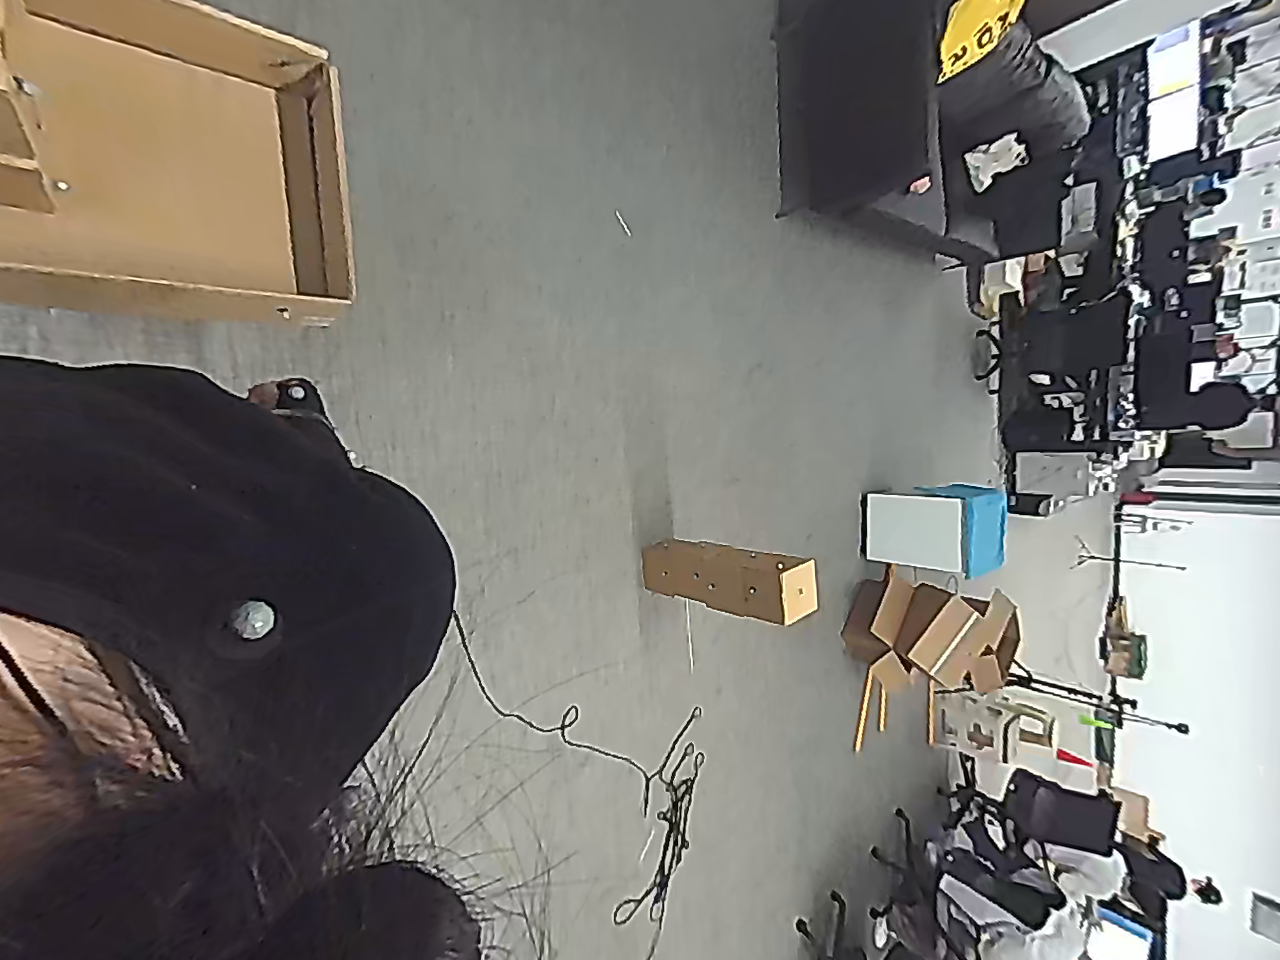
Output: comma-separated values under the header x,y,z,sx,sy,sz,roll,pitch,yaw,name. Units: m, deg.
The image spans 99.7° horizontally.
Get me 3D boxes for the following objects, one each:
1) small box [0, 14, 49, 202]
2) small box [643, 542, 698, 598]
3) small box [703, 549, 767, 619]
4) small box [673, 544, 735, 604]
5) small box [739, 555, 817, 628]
x,y,z,sx,sy,sz,roll,pitch,yaw,name
-0.834,-0.451,0.635,0.179,0.176,0.168,-5,96,-41,small box
0.125,0.339,2.082,0.168,0.176,0.179,-10,98,-41,small box
0.329,0.344,1.826,0.168,0.176,0.179,-12,100,-40,small box
0.233,0.333,1.958,0.168,0.176,0.179,-9,98,-40,small box
0.434,0.342,1.700,0.179,0.176,0.168,-12,99,-39,small box
